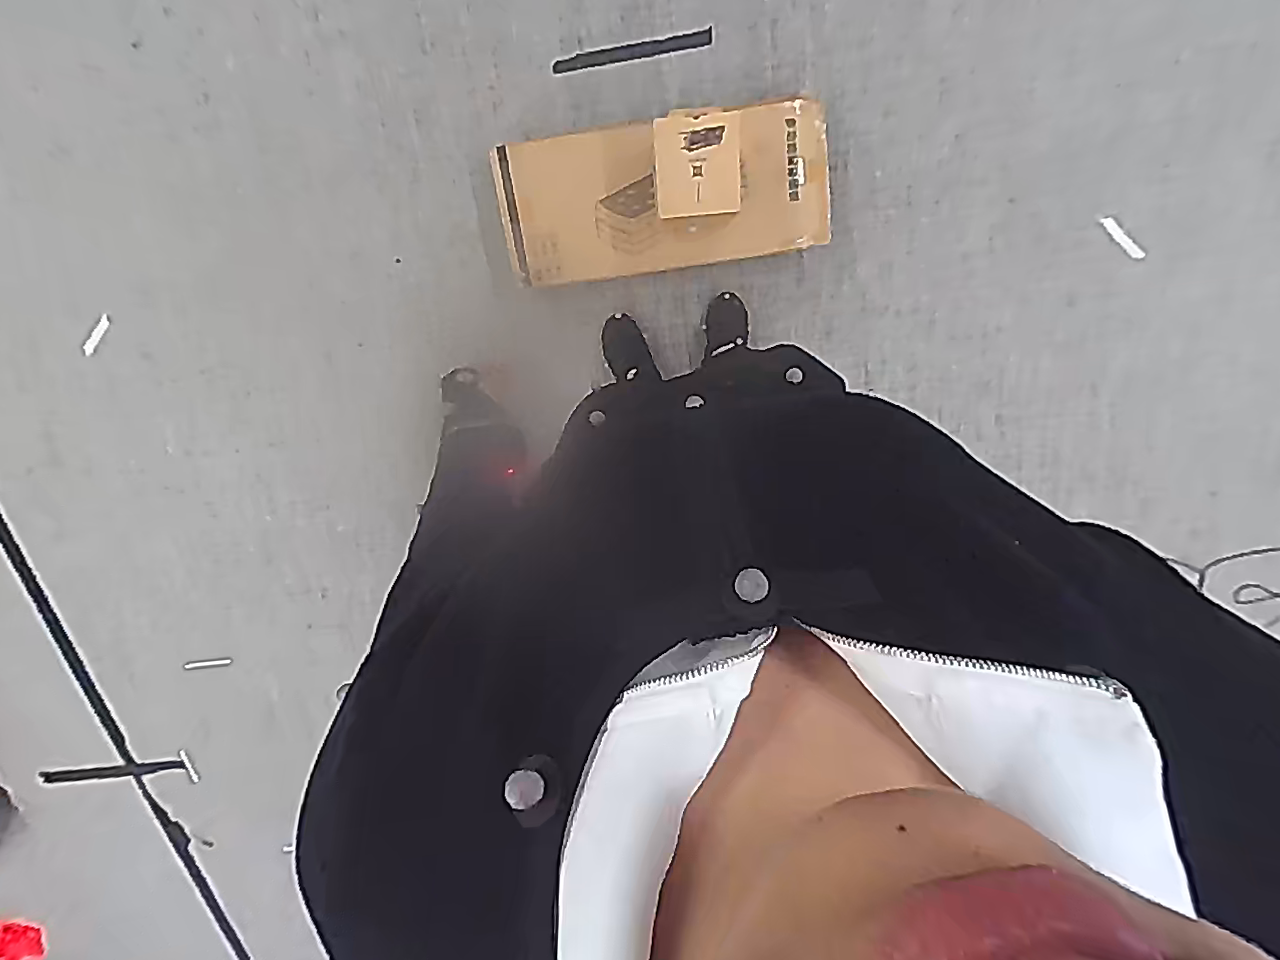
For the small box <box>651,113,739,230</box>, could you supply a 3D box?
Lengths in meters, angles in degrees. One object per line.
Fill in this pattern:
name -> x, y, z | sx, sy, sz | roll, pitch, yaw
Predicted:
small box -> 0.109, -0.633, 1.128 | 0.168, 0.176, 0.179 | -4, 108, 2
